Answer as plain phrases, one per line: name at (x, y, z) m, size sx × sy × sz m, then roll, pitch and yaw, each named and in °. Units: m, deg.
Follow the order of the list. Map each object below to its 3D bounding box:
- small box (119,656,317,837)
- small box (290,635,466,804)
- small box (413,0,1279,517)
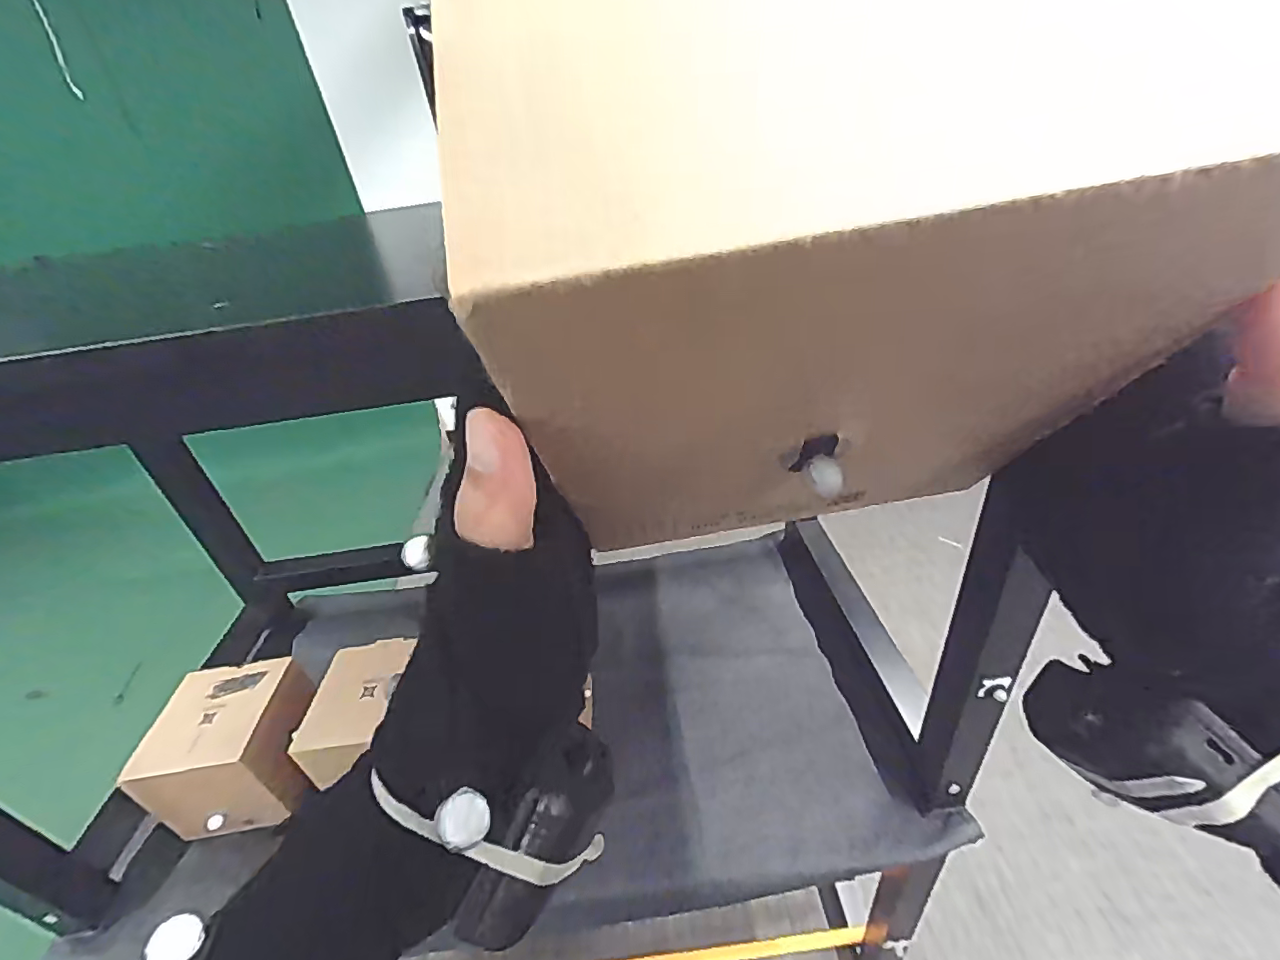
small box at (-0.606, 0.402, 0.825) m, size 0.168 × 0.176 × 0.179 m, roll -9°, pitch 33°, yaw -2°
small box at (-0.381, 0.369, 0.829) m, size 0.168 × 0.176 × 0.179 m, roll -7°, pitch 32°, yaw 0°
small box at (0.038, -0.094, 0.189) m, size 0.168 × 0.176 × 0.179 m, roll -9°, pitch 68°, yaw 0°
